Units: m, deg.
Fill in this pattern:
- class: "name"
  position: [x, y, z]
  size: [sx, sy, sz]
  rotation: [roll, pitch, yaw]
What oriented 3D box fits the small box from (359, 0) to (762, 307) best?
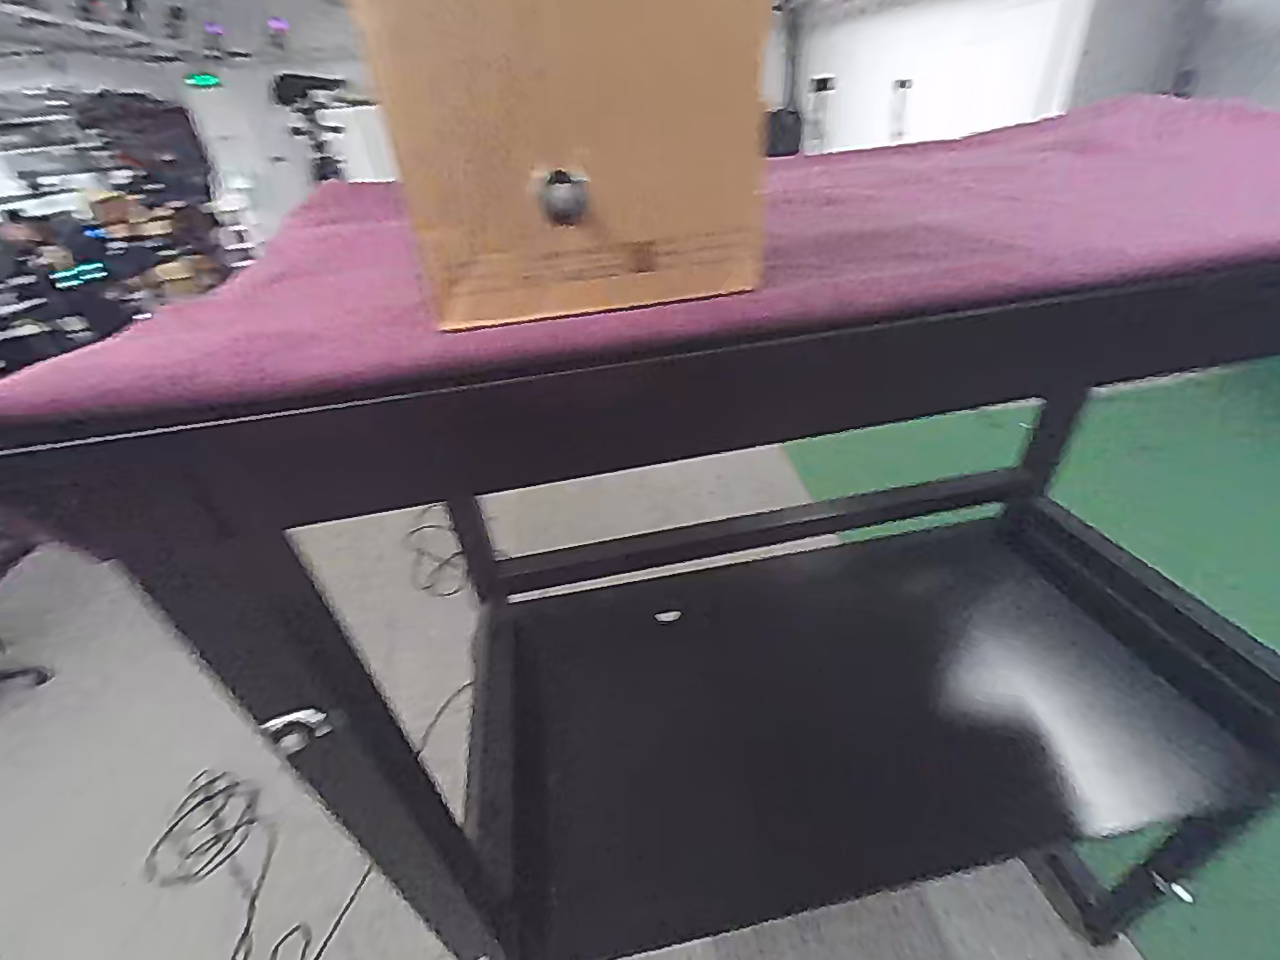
- class: "small box"
  position: [-0.044, -0.204, 0.300]
  size: [0.168, 0.176, 0.179]
  rotation: [-11, 33, -9]
